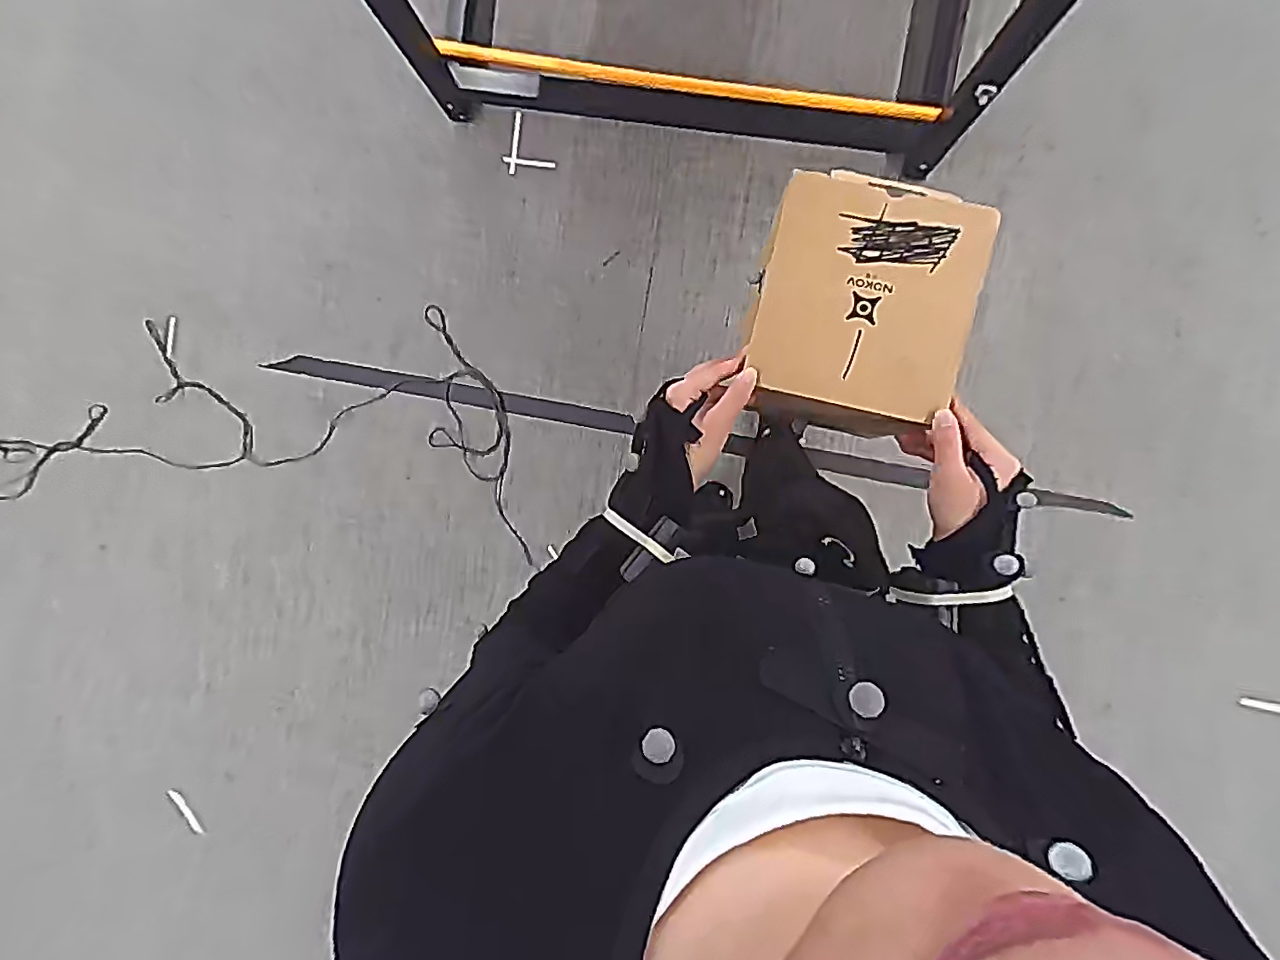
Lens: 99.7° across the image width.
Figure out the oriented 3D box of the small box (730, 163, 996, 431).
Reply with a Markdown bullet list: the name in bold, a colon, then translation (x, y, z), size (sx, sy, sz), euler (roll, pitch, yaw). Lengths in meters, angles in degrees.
- **small box**: translation (0.187, -0.152, 0.509), size (0.168, 0.176, 0.179), euler (14, 92, 4)
